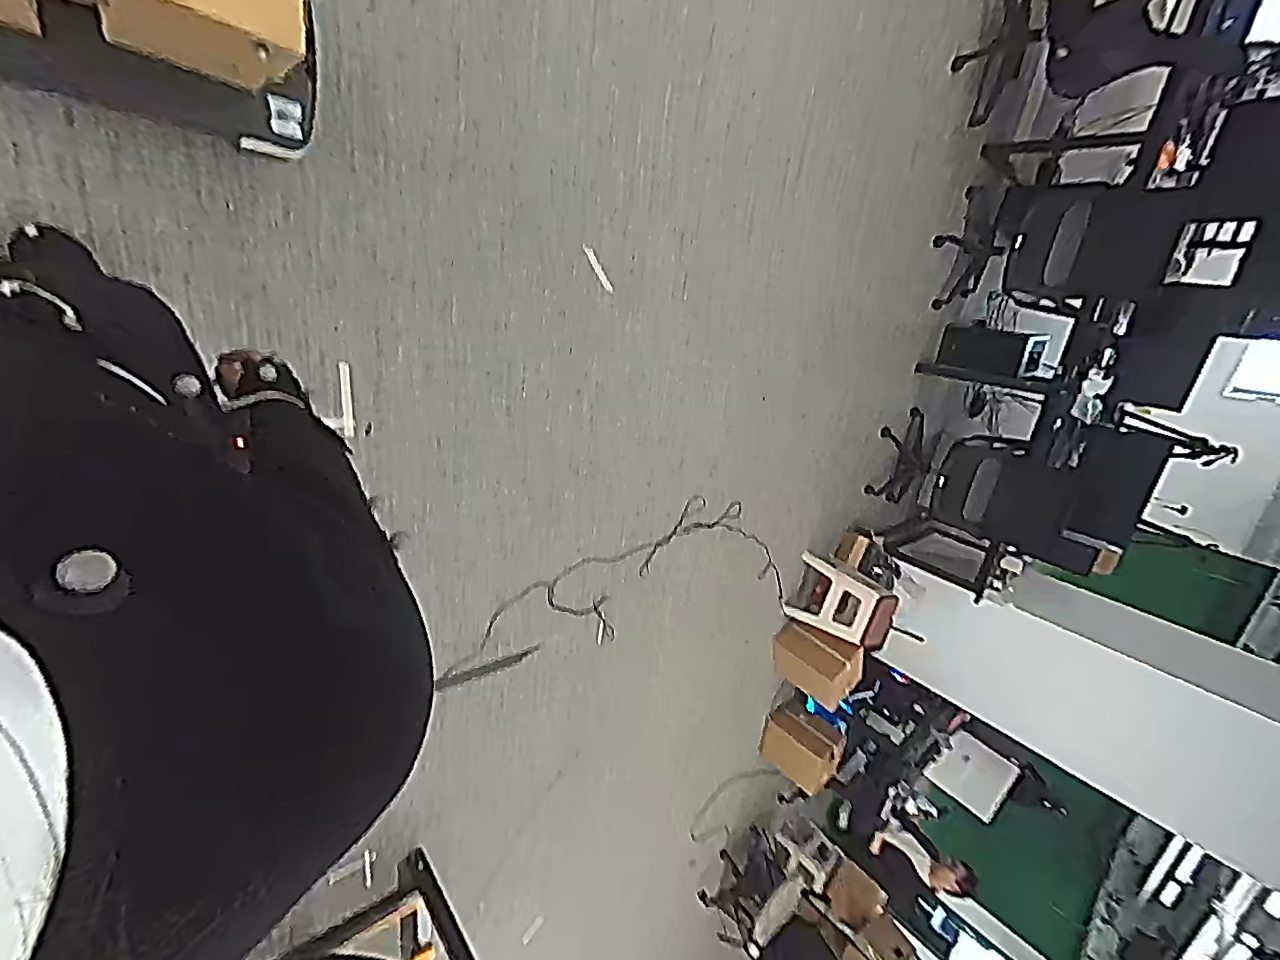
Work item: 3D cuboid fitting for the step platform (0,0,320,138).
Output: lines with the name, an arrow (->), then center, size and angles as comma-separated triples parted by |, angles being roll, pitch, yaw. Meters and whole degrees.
step platform -> -0.830, -0.724, 0.732 | 0.684, 0.204, 0.286 | -8, 114, -41

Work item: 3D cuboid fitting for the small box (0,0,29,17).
small box -> -0.780, -0.641, 0.565 | 0.168, 0.176, 0.179 | -6, 114, -42

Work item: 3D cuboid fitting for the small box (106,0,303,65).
small box -> -0.500, -0.608, 0.612 | 0.179, 0.176, 0.168 | -5, 113, -43
